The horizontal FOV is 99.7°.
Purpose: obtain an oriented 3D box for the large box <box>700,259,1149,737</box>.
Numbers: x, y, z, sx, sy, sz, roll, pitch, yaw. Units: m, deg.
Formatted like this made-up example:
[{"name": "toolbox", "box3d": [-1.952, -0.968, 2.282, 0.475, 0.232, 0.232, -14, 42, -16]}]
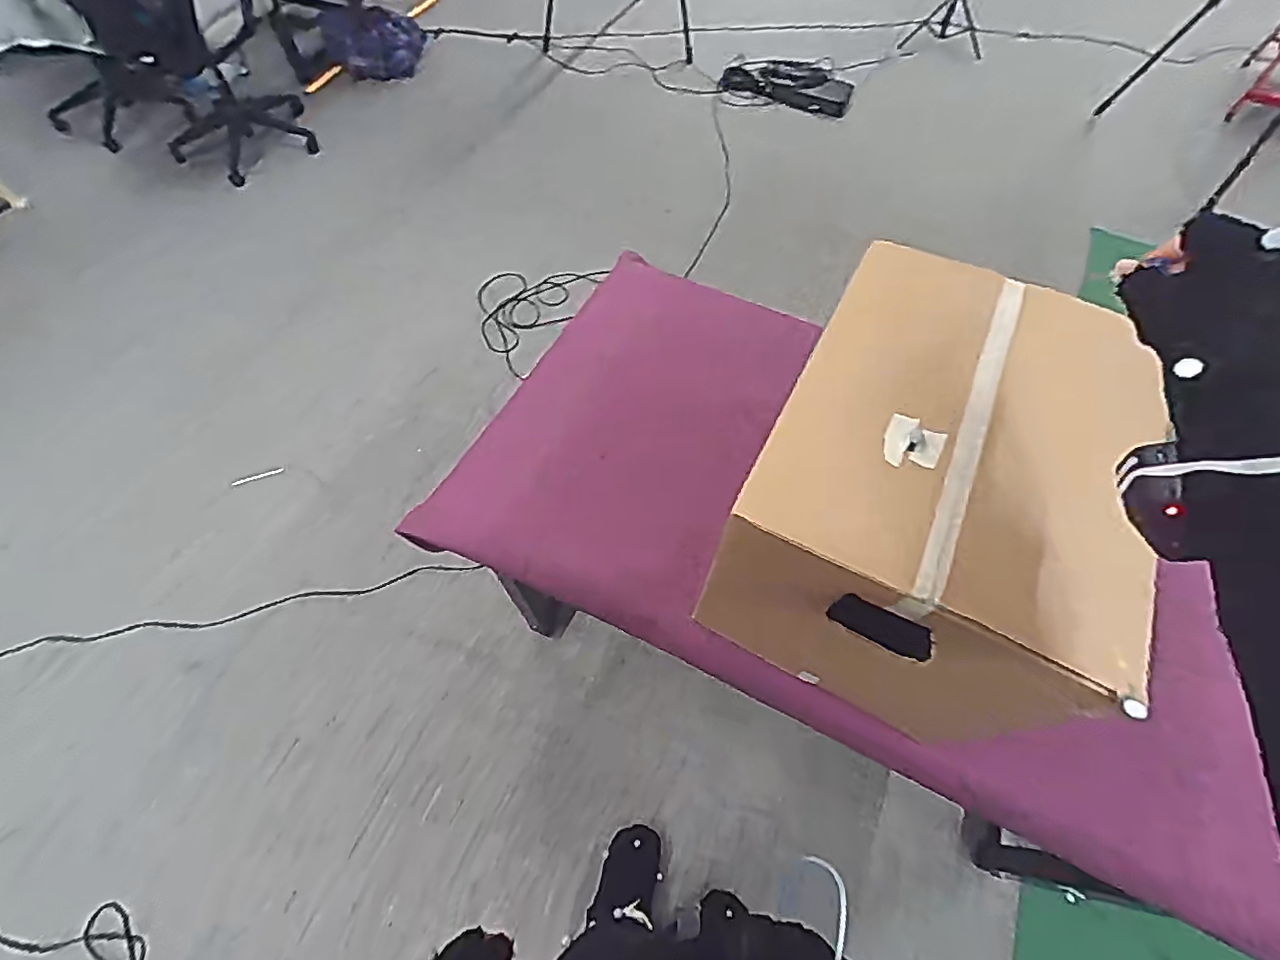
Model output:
[{"name": "large box", "box3d": [0.304, 0.027, 0.642, 0.320, 0.320, 0.408, 26, 63, 14]}]
